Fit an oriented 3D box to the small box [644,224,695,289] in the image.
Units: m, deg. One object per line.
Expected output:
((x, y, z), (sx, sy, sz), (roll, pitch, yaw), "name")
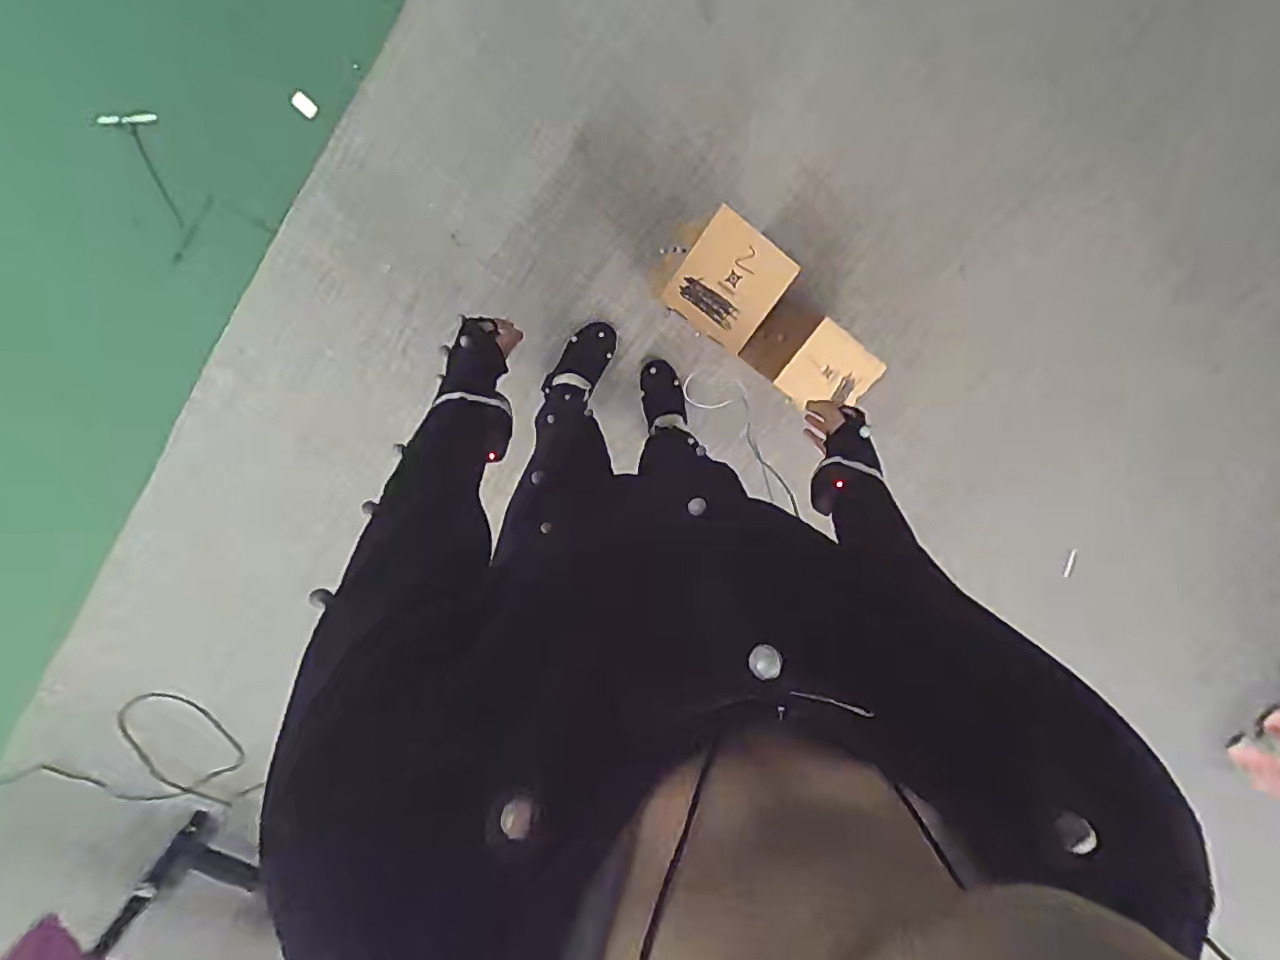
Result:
((0.126, -0.469, 1.263), (0.179, 0.176, 0.168), (33, 105, -13), "small box")

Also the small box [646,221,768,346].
((0.130, -0.403, 1.114), (0.179, 0.176, 0.168), (34, 105, -13), "small box")
